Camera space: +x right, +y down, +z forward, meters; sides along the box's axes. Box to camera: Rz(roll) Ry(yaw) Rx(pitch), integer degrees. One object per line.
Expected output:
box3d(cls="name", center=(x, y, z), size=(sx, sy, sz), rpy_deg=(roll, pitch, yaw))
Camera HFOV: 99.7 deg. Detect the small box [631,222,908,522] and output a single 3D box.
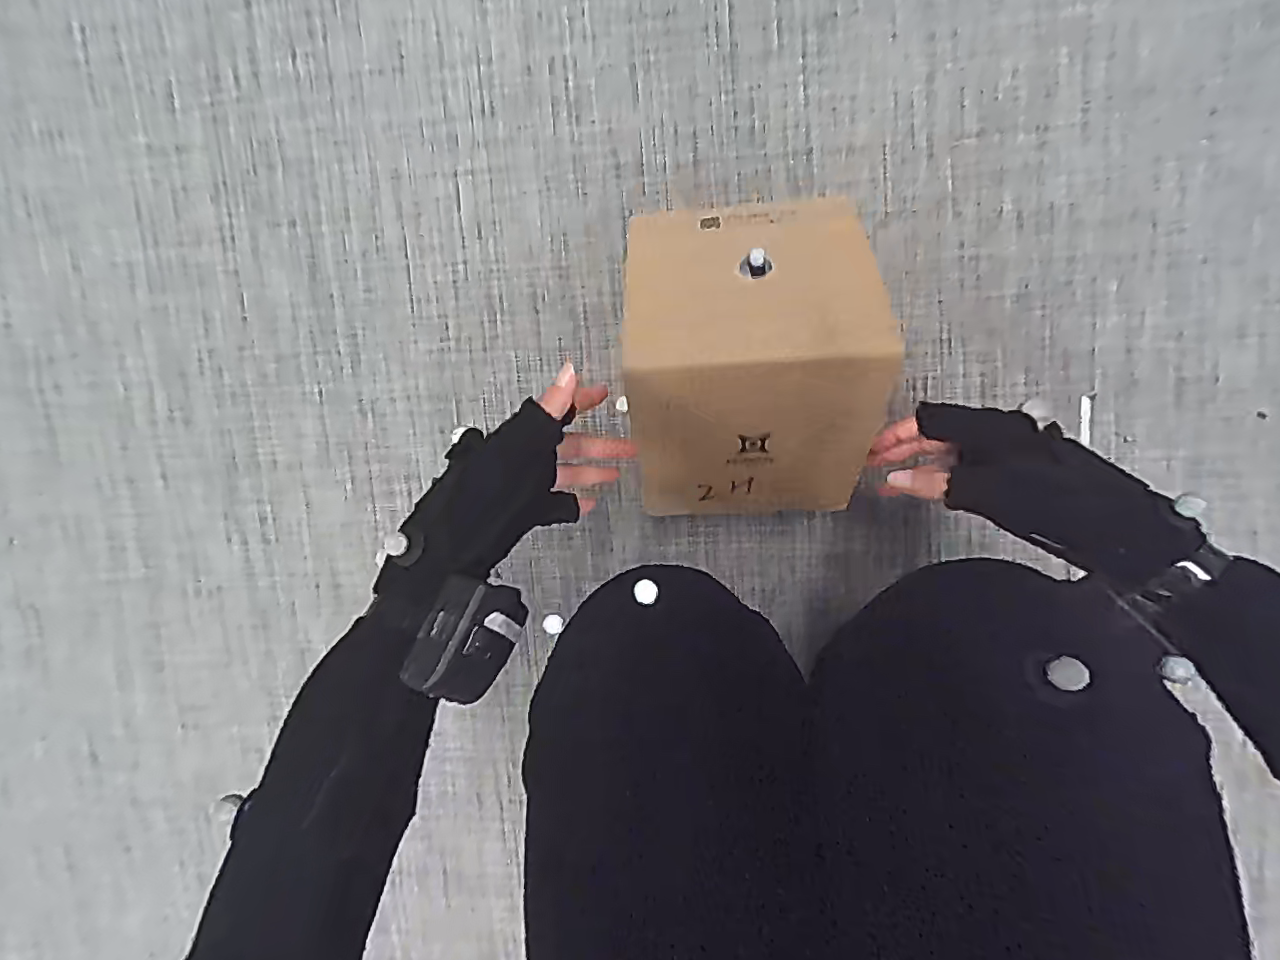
box3d(cls="small box", center=(0.082, -0.083, 0.427), size=(0.168, 0.179, 0.176), rpy_deg=(-2, 56, 5))
